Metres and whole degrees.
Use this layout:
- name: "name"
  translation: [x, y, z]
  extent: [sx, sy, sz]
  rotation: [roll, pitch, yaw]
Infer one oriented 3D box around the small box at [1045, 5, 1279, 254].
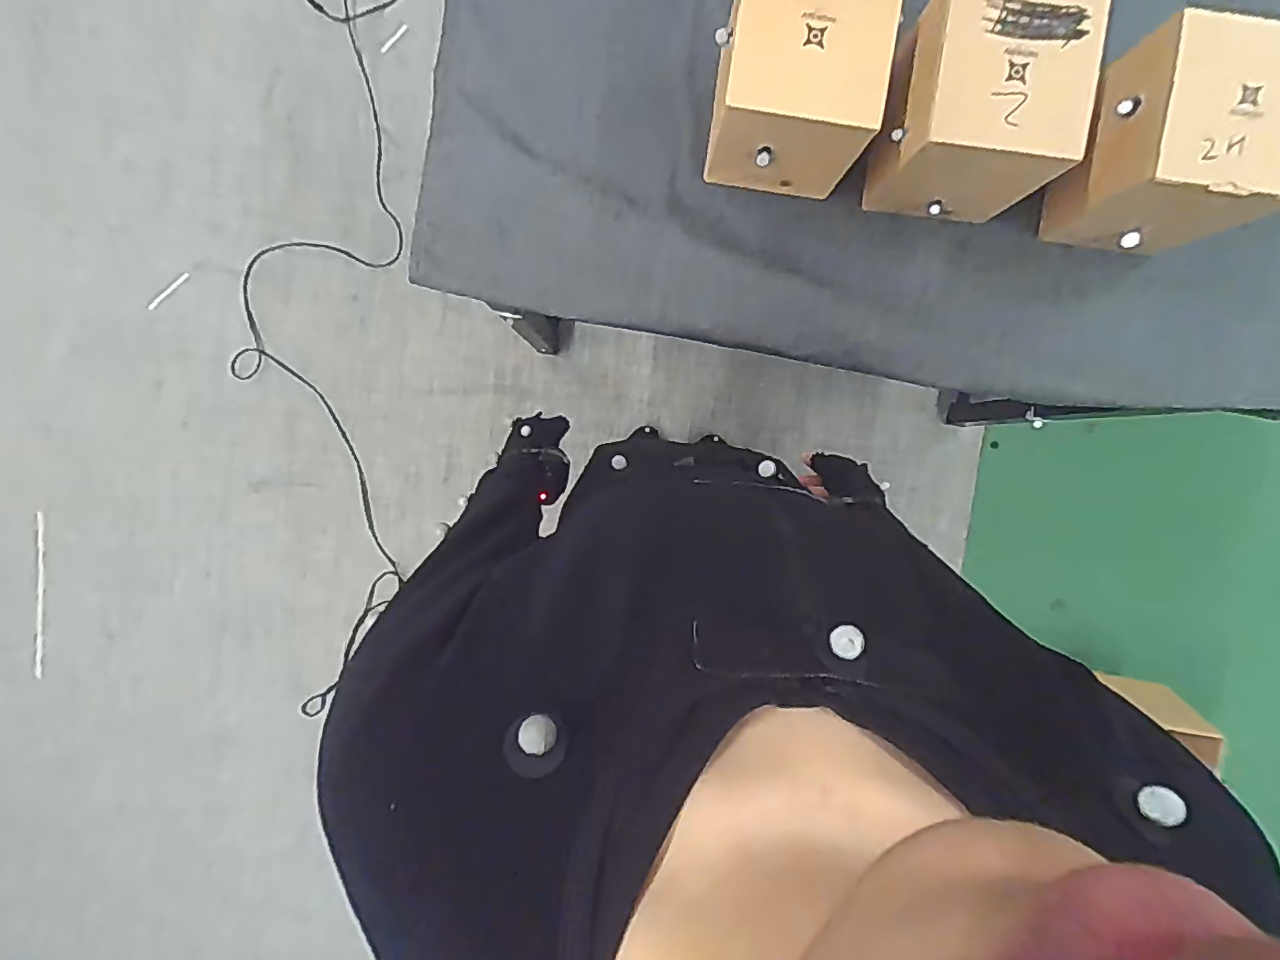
- name: "small box"
  translation: [0.624, -0.394, 0.637]
  extent: [0.168, 0.176, 0.179]
  rotation: [8, 93, 0]
